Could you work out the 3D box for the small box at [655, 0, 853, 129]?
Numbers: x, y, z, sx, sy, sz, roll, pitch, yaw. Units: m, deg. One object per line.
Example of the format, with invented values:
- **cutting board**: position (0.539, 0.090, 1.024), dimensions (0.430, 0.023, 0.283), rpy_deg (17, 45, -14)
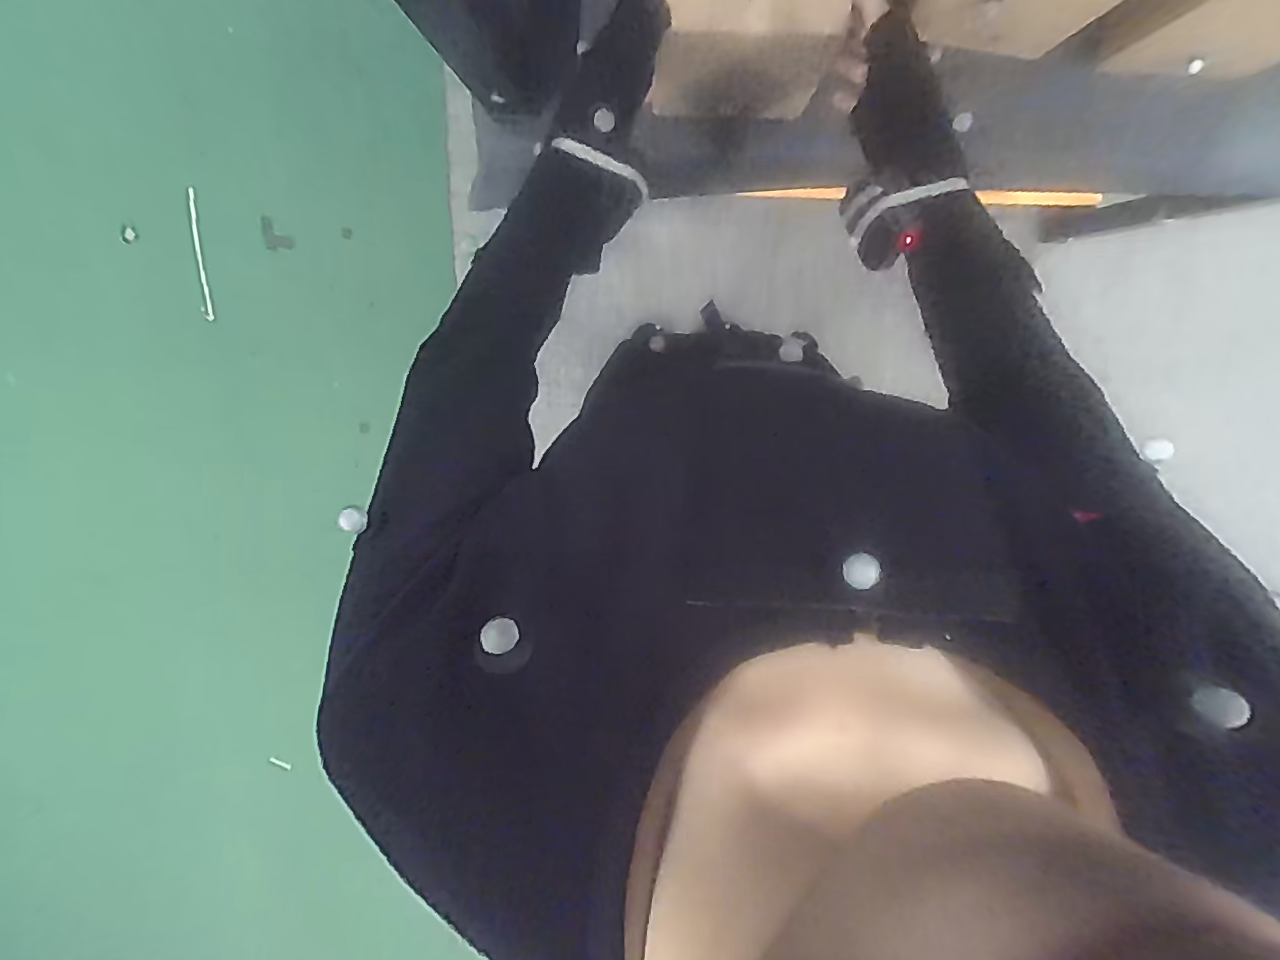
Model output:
- **small box**: position (0.100, -0.470, 0.517), dimensions (0.168, 0.176, 0.179), rpy_deg (2, 103, 2)
